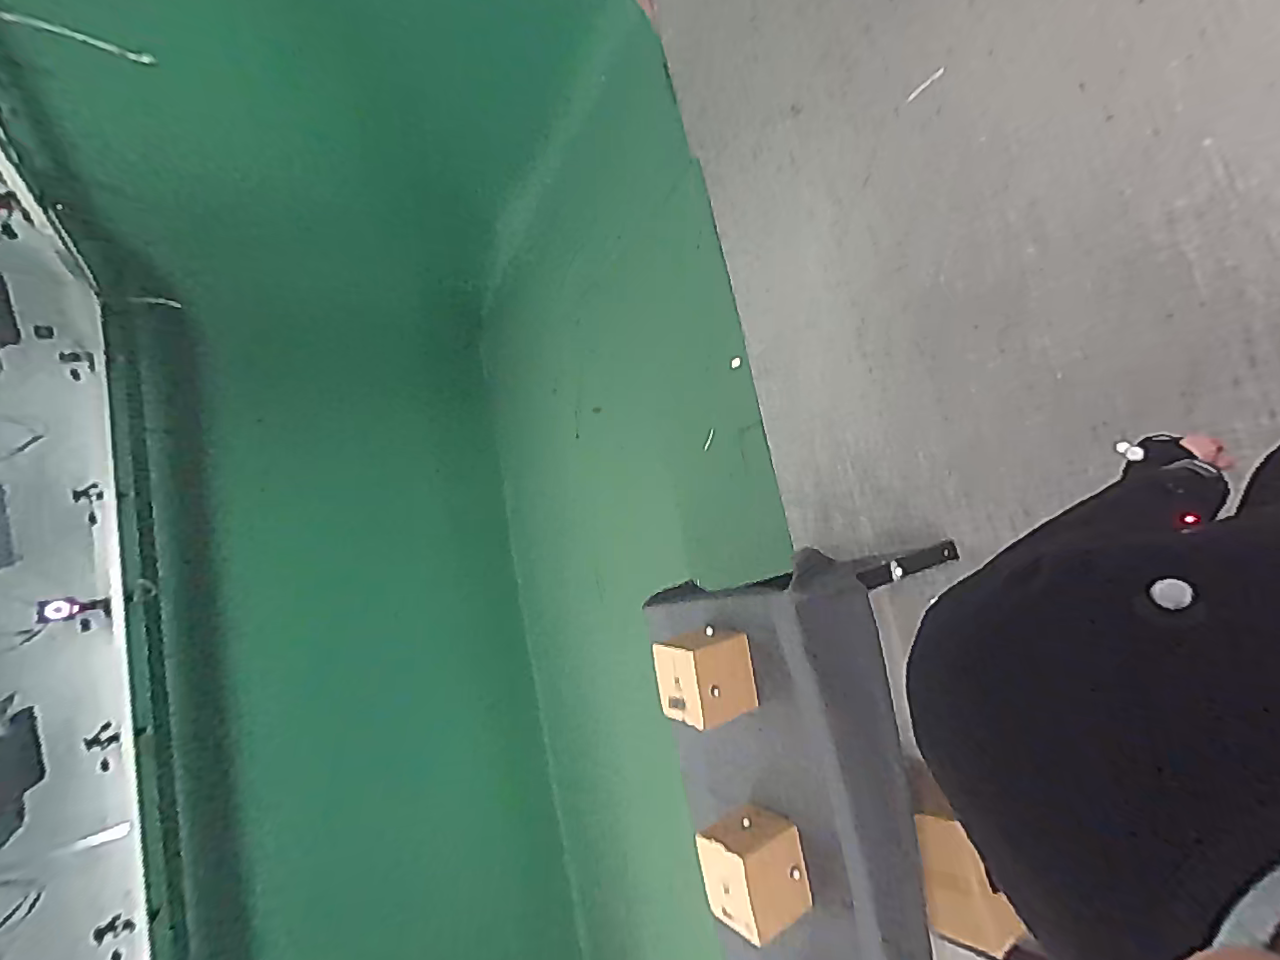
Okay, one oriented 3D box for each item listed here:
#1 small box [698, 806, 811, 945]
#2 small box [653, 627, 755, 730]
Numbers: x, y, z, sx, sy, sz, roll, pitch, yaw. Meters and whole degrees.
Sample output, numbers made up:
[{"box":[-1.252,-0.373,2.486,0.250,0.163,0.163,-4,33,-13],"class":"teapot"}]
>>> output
[{"box":[0.259,0.881,1.228,0.168,0.176,0.179,-22,77,57],"class":"small box"},{"box":[0.156,0.468,1.304,0.168,0.176,0.179,-14,84,57],"class":"small box"}]
